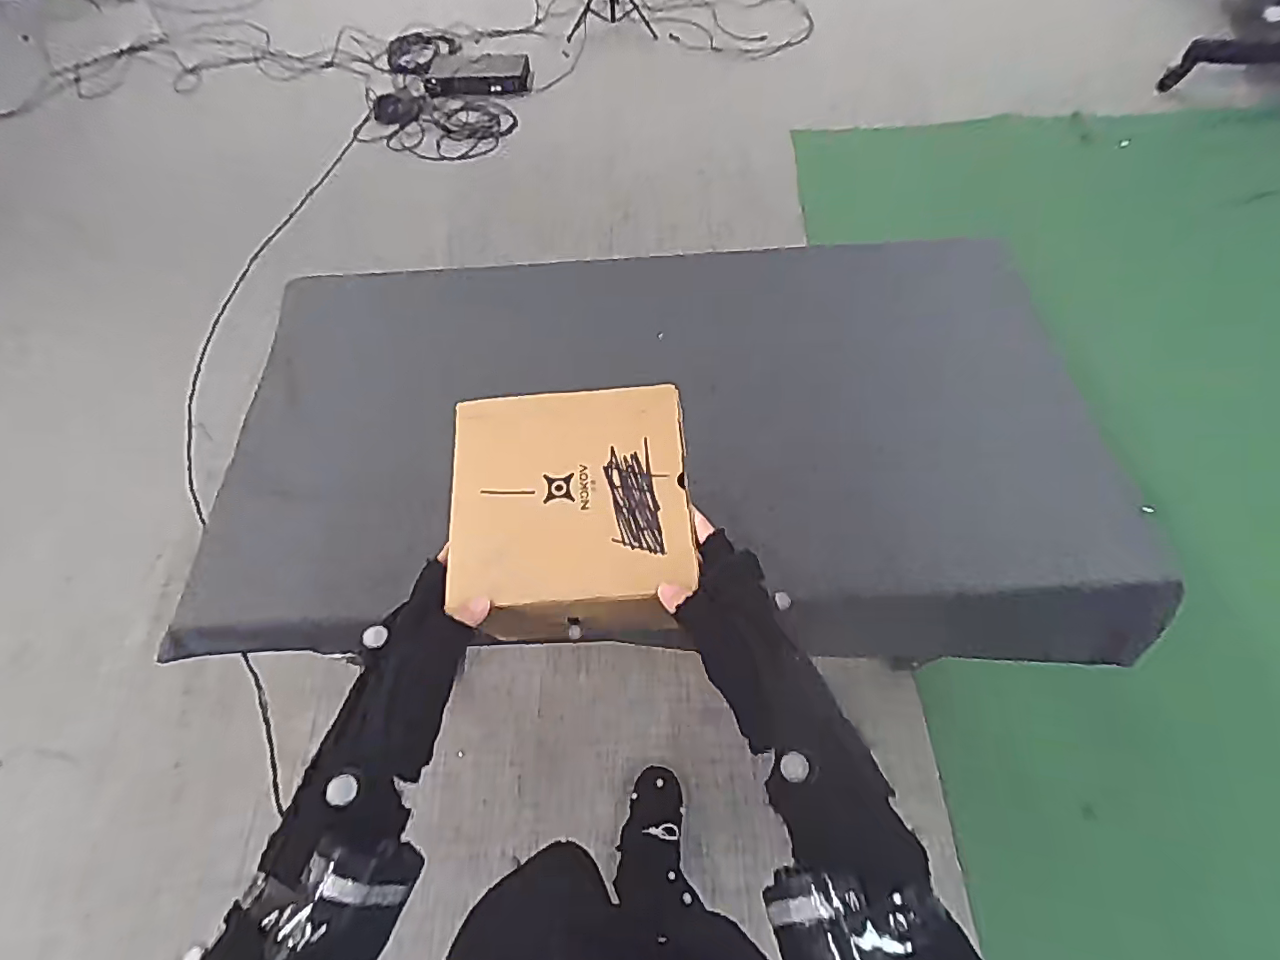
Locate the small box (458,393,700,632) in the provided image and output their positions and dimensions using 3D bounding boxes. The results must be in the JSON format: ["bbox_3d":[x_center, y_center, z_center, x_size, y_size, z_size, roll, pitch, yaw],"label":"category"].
[{"bbox_3d":[-0.048,0.039,0.488,0.179,0.176,0.168,-4,66,-1],"label":"small box"}]
